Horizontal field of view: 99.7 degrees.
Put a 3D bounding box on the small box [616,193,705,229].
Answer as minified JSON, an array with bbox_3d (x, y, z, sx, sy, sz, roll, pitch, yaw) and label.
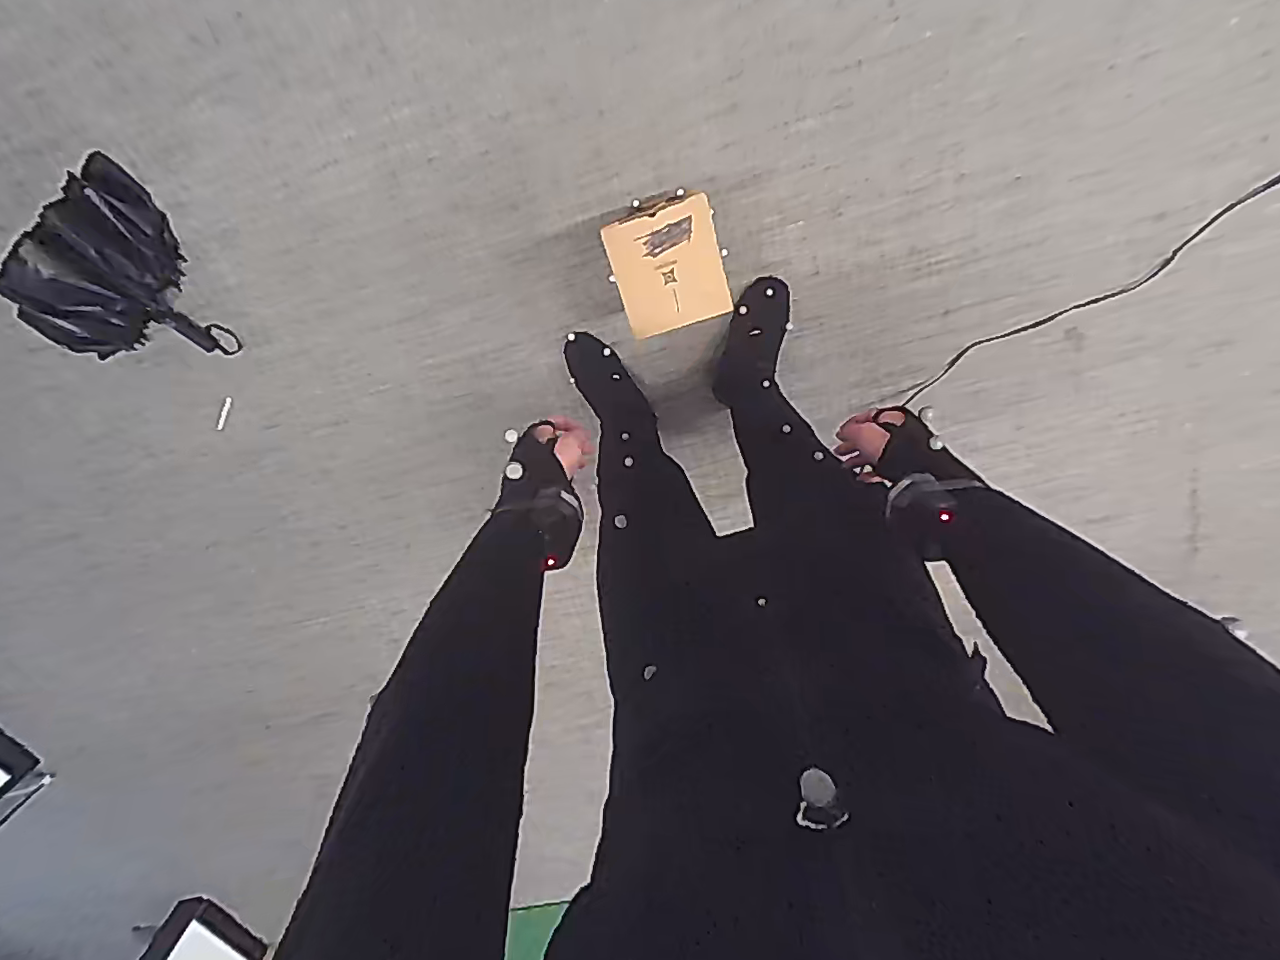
[{"bbox_3d":[0.060,-0.433,1.042,0.168,0.176,0.179,-14,117,11],"label":"small box"}]

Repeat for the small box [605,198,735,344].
[{"bbox_3d":[0.050,-0.350,0.901,0.168,0.176,0.179,-15,116,11],"label":"small box"}]
